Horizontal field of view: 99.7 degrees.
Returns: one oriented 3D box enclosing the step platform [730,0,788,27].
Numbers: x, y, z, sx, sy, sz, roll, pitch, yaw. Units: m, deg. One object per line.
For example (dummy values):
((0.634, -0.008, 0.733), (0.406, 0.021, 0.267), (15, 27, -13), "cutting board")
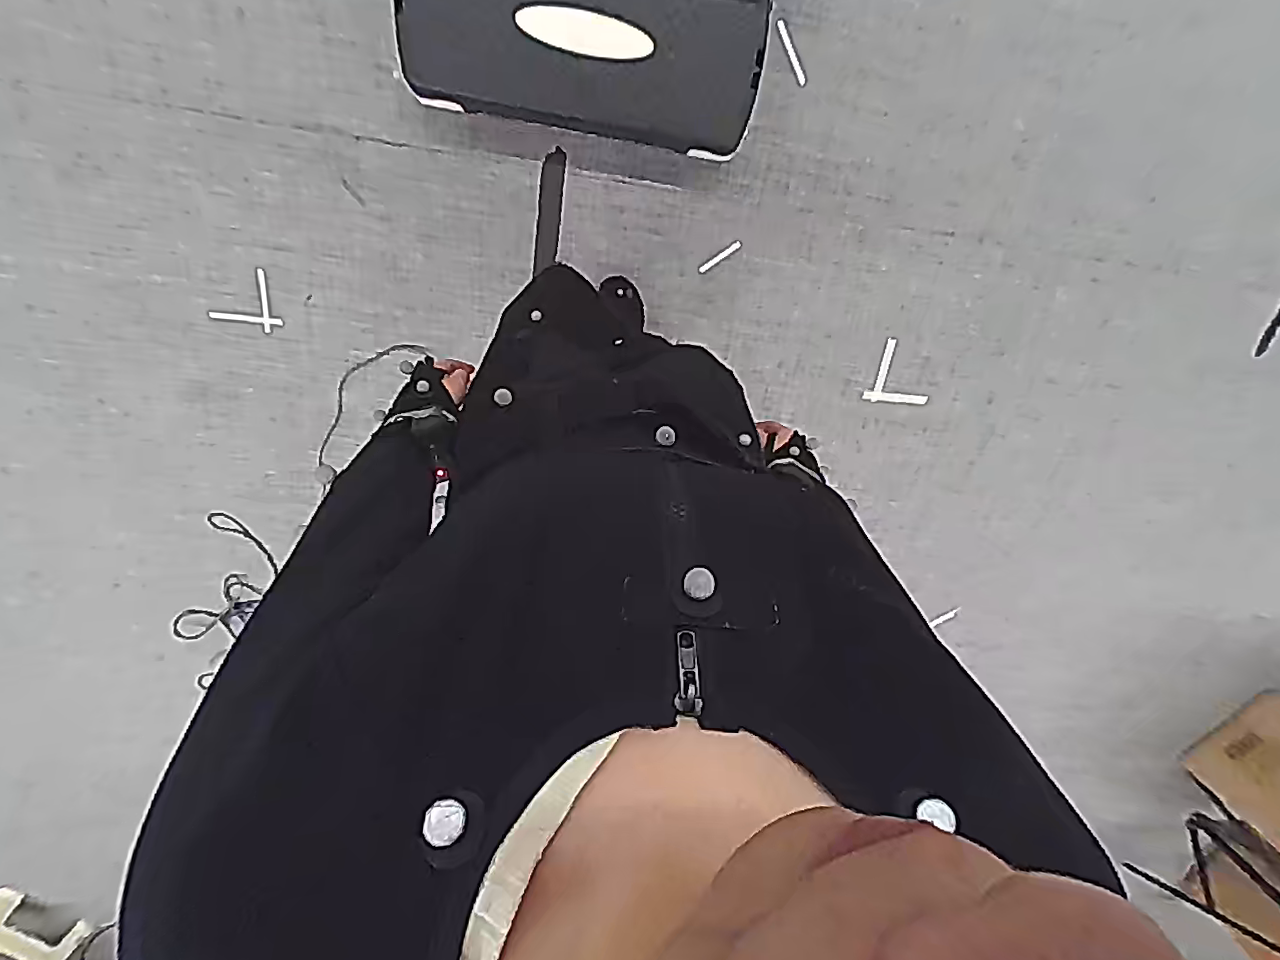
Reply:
((-0.023, -1.033, 0.887), (0.684, 0.204, 0.286), (10, 112, -9), "step platform")
